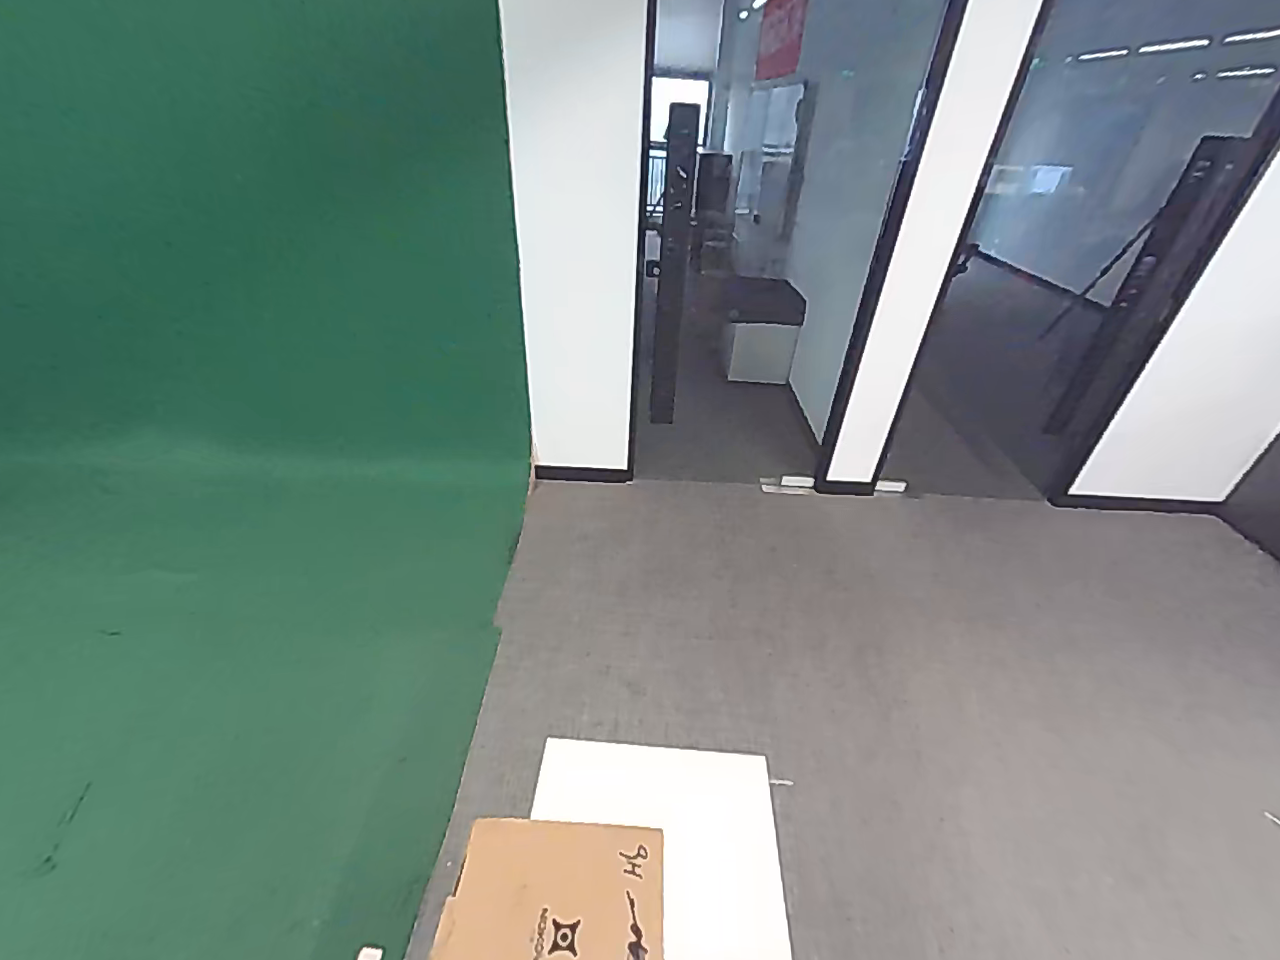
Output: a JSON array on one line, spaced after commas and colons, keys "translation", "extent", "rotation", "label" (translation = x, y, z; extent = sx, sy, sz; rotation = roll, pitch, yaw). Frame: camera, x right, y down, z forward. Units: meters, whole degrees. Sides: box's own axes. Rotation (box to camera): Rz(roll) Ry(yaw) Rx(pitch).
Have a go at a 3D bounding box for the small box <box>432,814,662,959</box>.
[{"translation": [-0.071, 0.419, 0.468], "extent": [0.179, 0.176, 0.168], "rotation": [2, 35, 1], "label": "small box"}]
